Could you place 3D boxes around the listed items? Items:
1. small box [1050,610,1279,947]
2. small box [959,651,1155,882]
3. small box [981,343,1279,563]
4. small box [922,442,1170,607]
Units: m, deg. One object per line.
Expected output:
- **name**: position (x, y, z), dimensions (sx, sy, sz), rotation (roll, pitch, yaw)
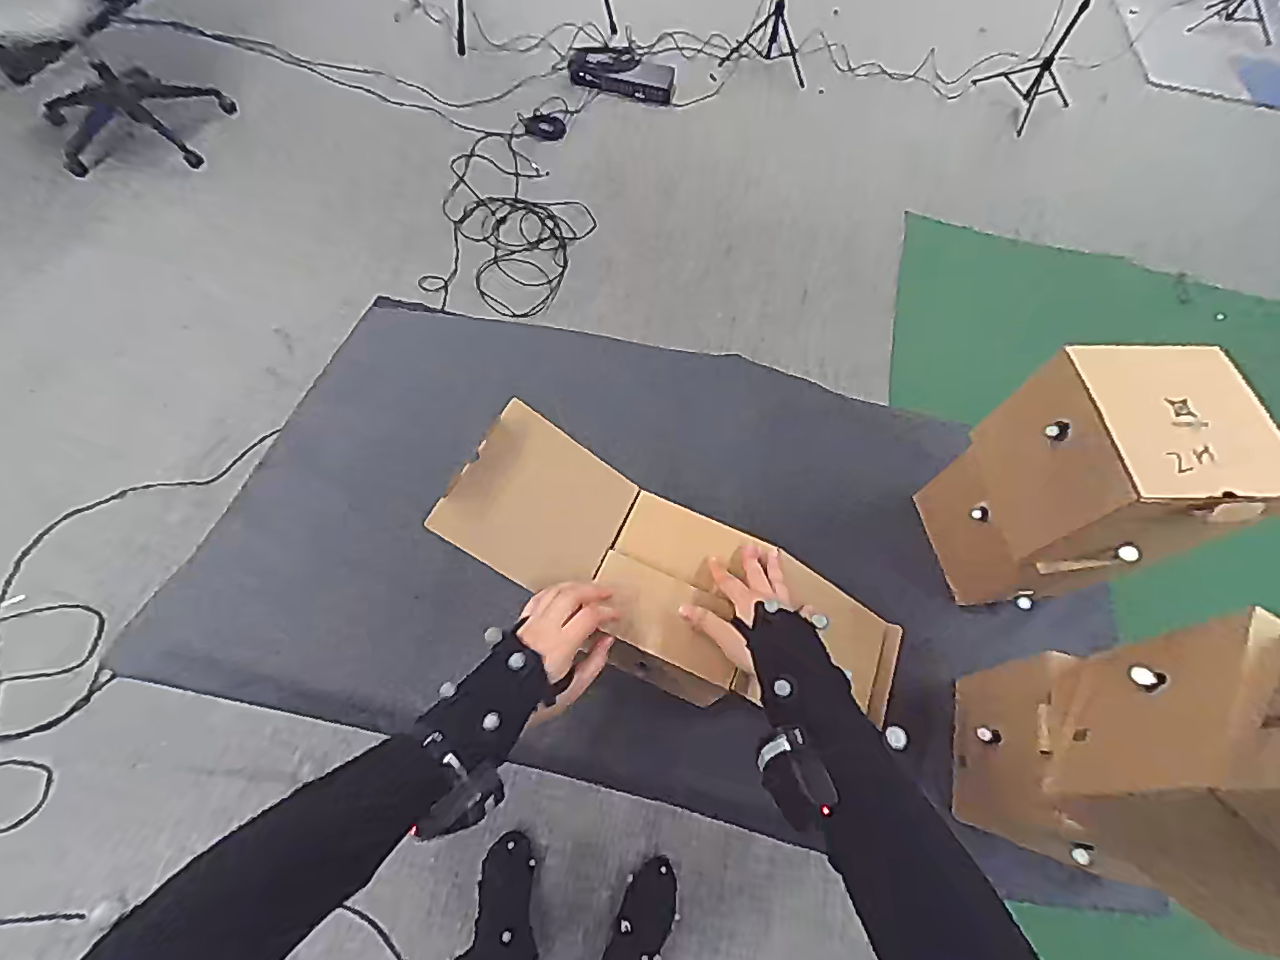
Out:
- **small box**: position (0.483, 0.241, 0.429), dimensions (0.179, 0.176, 0.168), rotation (38, 63, 15)
- **small box**: position (0.471, 0.308, 0.578), dimensions (0.179, 0.176, 0.168), rotation (19, 60, 6)
- **small box**: position (0.503, -0.023, 0.572), dimensions (0.168, 0.176, 0.179), rotation (0, 63, -1)
- **small box**: position (0.512, 0.056, 0.718), dimensions (0.168, 0.176, 0.179), rotation (-7, 65, -5)
